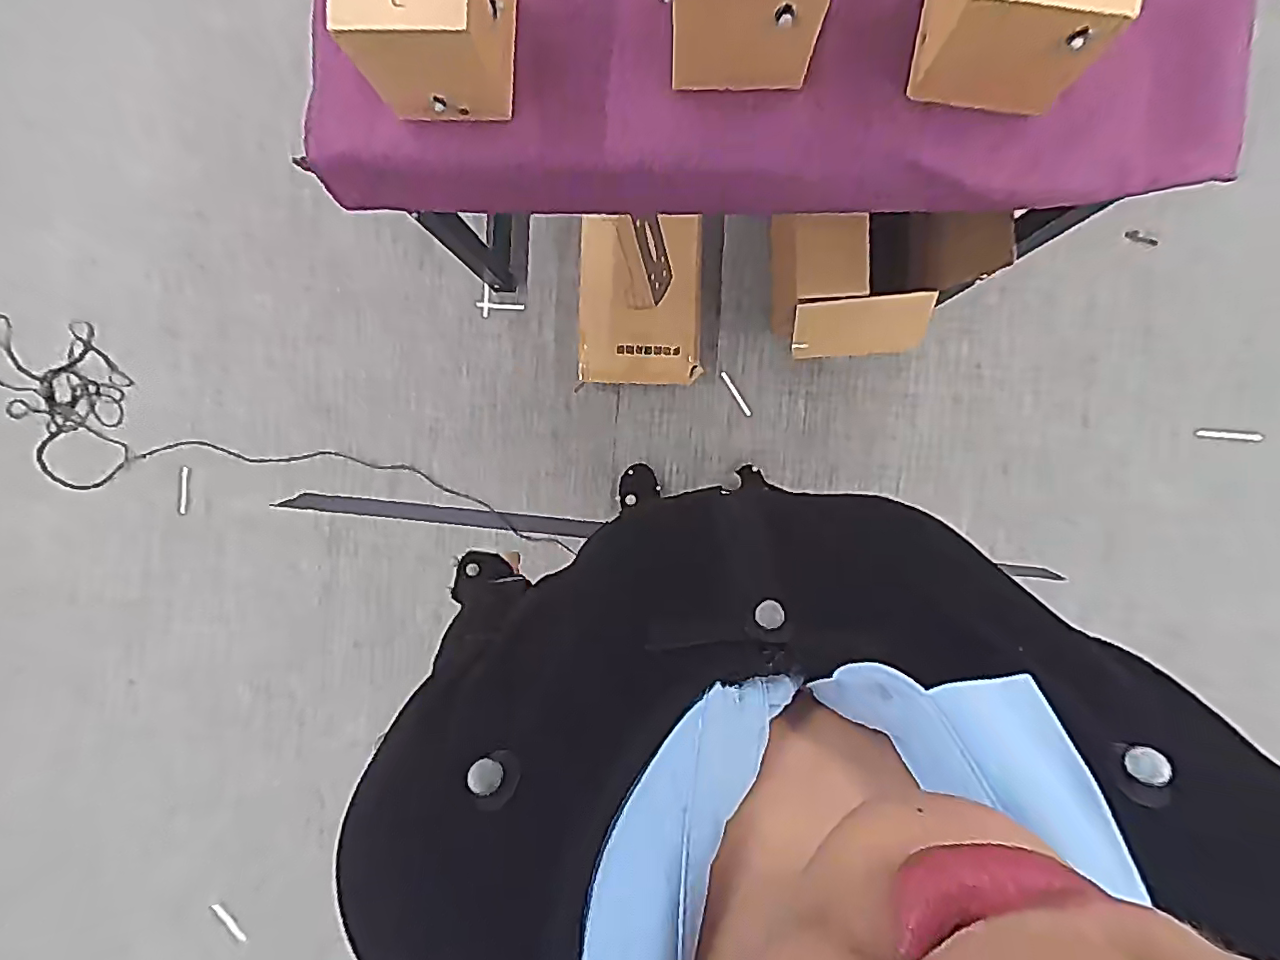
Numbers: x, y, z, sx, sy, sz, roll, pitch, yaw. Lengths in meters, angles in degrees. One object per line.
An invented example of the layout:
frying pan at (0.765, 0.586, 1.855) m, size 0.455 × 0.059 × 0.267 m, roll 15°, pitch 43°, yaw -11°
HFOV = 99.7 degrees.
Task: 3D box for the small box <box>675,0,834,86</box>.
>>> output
small box at (0.134, -0.612, 0.649) m, size 0.179 × 0.176 × 0.168 m, roll 2°, pitch 90°, yaw 4°

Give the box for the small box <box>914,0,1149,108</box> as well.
small box at (0.450, -0.575, 0.632) m, size 0.179 × 0.176 × 0.168 m, roll 9°, pitch 93°, yaw 3°
